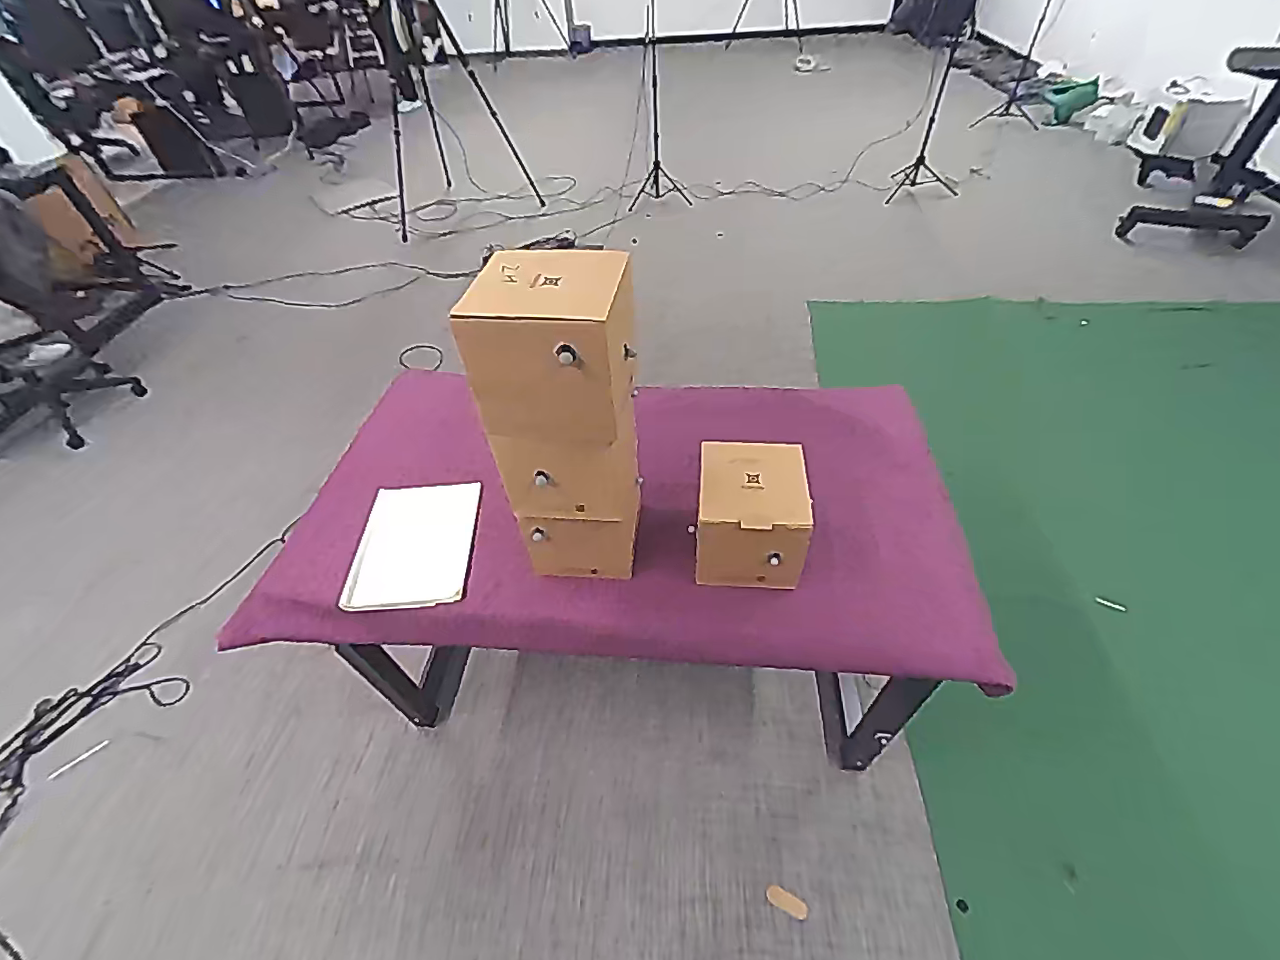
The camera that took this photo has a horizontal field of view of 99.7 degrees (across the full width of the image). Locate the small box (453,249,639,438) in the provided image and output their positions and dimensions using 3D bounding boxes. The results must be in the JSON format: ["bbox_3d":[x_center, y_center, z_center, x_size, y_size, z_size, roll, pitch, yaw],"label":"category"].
[{"bbox_3d":[-0.099,-0.169,0.674,0.179,0.176,0.168,4,46,8],"label":"small box"}]

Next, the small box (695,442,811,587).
[{"bbox_3d":[0.179,0.059,0.894,0.168,0.176,0.179,3,46,6],"label":"small box"}]

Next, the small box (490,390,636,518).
[{"bbox_3d":[-0.099,-0.060,0.799,0.168,0.176,0.179,3,46,7],"label":"small box"}]
